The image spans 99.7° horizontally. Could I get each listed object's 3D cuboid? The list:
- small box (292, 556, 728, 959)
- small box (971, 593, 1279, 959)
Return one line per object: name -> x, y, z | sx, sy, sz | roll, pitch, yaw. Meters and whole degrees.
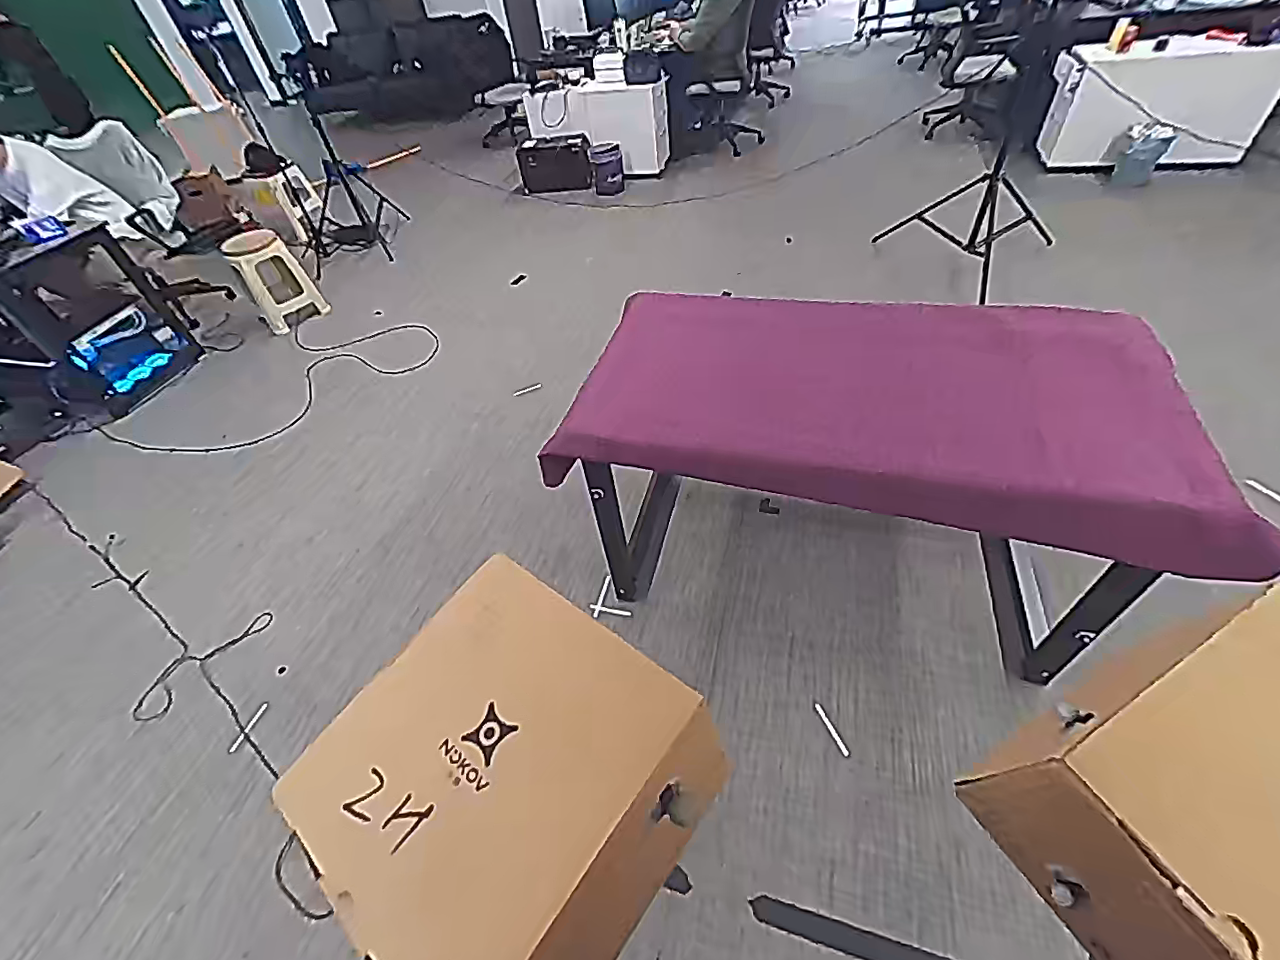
small box -> -0.058, 0.187, 0.342 | 0.168, 0.176, 0.179 | 26, 64, 32
small box -> 0.341, 0.201, 0.316 | 0.179, 0.176, 0.168 | -31, 57, -10
